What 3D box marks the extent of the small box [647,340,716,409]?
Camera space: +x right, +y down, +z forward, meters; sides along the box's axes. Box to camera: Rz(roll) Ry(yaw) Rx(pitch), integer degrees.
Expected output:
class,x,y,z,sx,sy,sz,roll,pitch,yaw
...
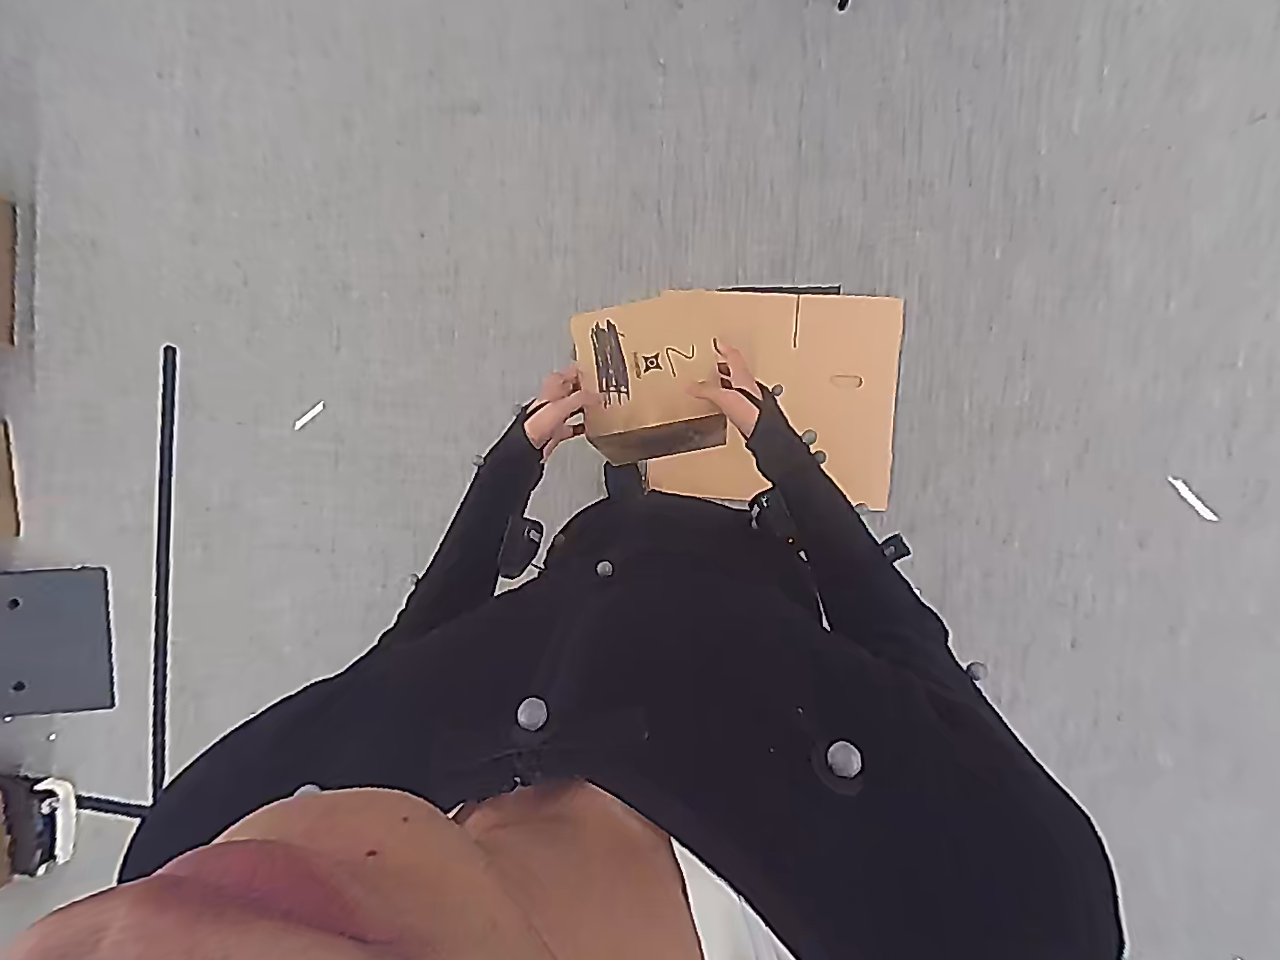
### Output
class,x,y,z,sx,sy,sz,roll,pitch,yaw
small box,0.120,-0.292,1.527,0.179,0.176,0.168,4,92,8
